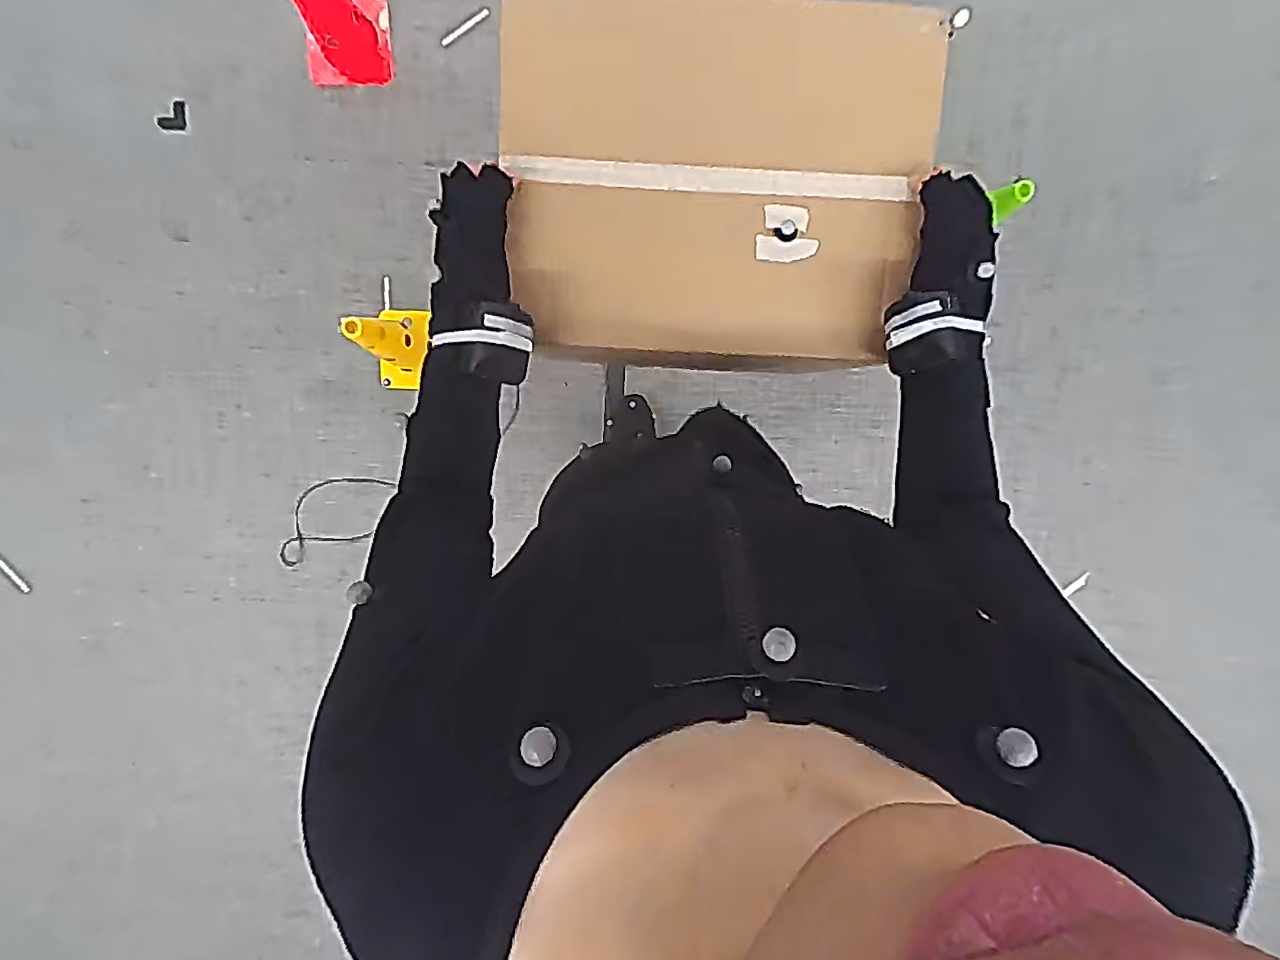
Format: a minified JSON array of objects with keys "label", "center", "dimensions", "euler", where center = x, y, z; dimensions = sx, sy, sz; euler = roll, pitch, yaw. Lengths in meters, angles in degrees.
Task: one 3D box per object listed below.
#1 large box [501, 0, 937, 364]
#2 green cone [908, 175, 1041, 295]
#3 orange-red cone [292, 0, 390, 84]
[{"label":"large box","center":[0.063,-0.312,0.654],"dimensions":[0.408,0.320,0.320],"euler":[2,99,-2]},{"label":"green cone","center":[0.756,-0.593,1.239],"dimensions":[0.202,0.368,0.200],"euler":[-35,97,1]},{"label":"orange-red cone","center":[-0.709,-1.049,1.150],"dimensions":[0.198,0.360,0.199],"euler":[0,98,-1]}]
